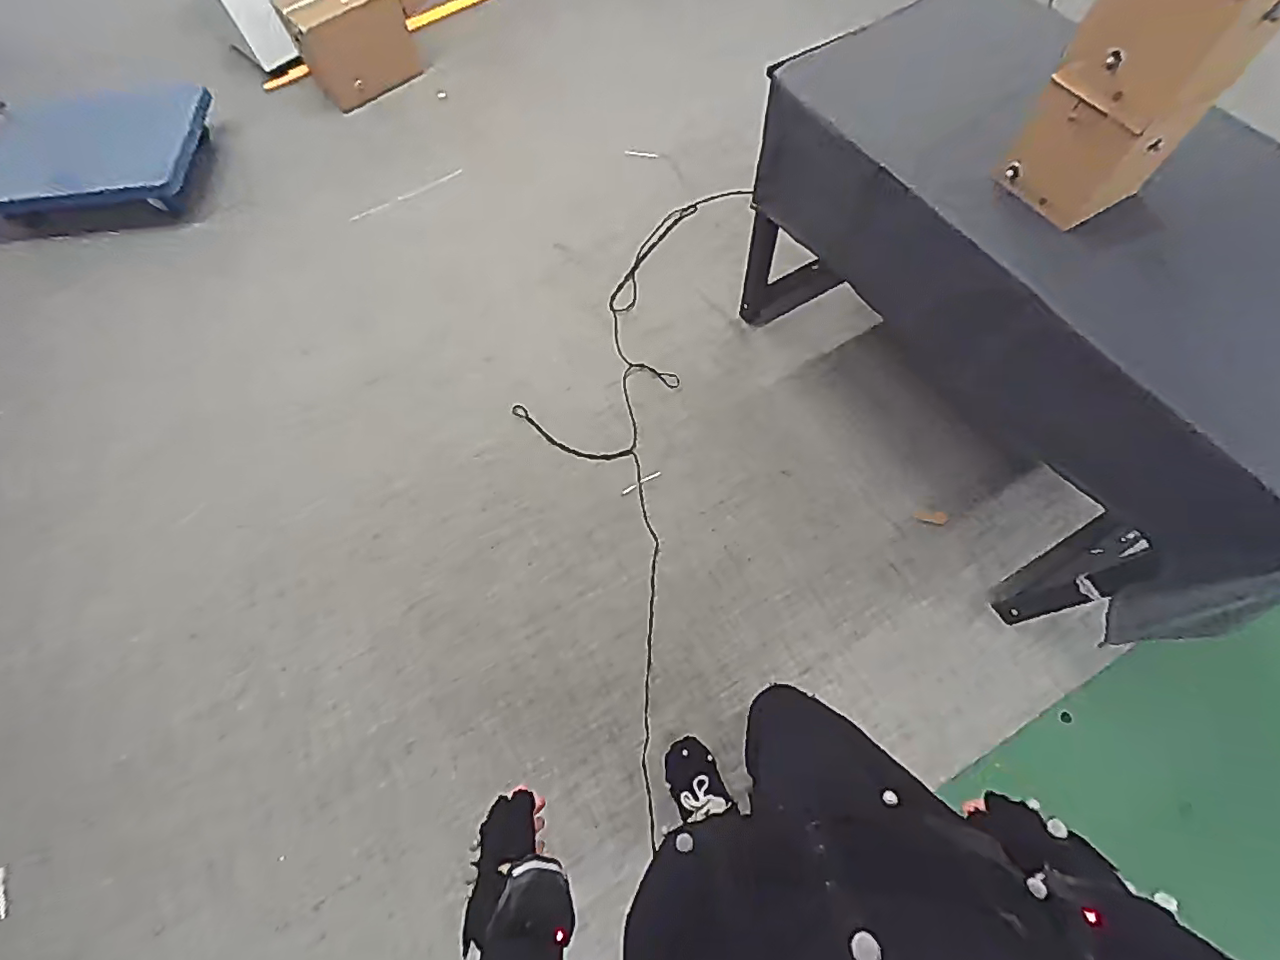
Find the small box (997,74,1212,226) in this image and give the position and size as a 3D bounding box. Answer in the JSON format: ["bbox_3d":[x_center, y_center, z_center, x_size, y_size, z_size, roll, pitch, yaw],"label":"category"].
[{"bbox_3d":[0.725,-0.551,0.875,0.179,0.176,0.168,-30,68,-10],"label":"small box"}]

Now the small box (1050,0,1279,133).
[{"bbox_3d":[0.716,-0.615,0.726,0.179,0.176,0.168,-30,68,-9],"label":"small box"}]
